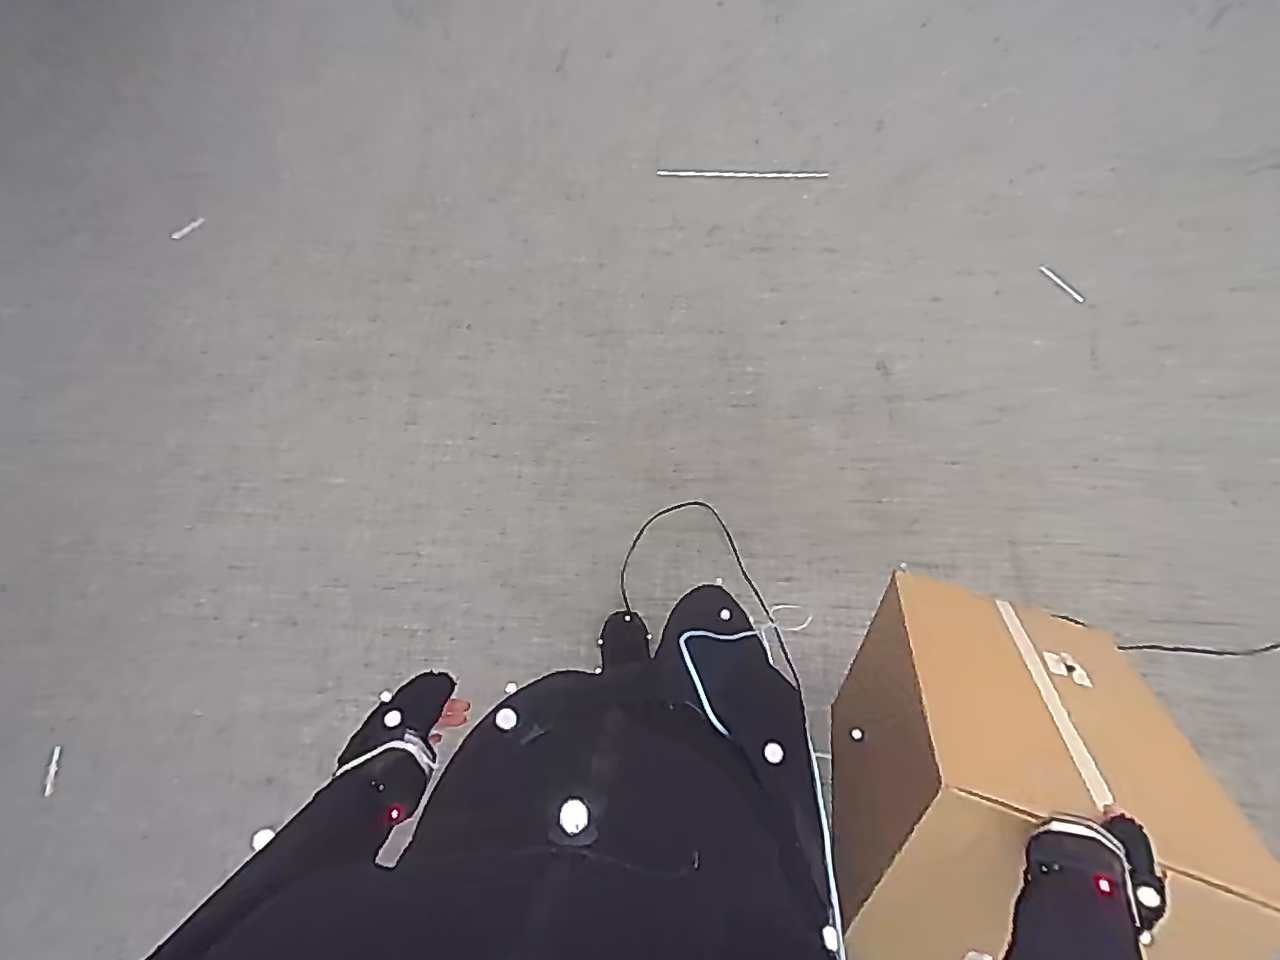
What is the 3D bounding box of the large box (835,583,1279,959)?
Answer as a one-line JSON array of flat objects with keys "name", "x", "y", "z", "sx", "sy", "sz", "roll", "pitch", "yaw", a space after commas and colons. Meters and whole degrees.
[{"name": "large box", "x": 0.467, "y": 0.411, "z": 0.724, "sx": 0.320, "sy": 0.408, "sz": 0.320, "roll": 18, "pitch": 115, "yaw": 11}]
